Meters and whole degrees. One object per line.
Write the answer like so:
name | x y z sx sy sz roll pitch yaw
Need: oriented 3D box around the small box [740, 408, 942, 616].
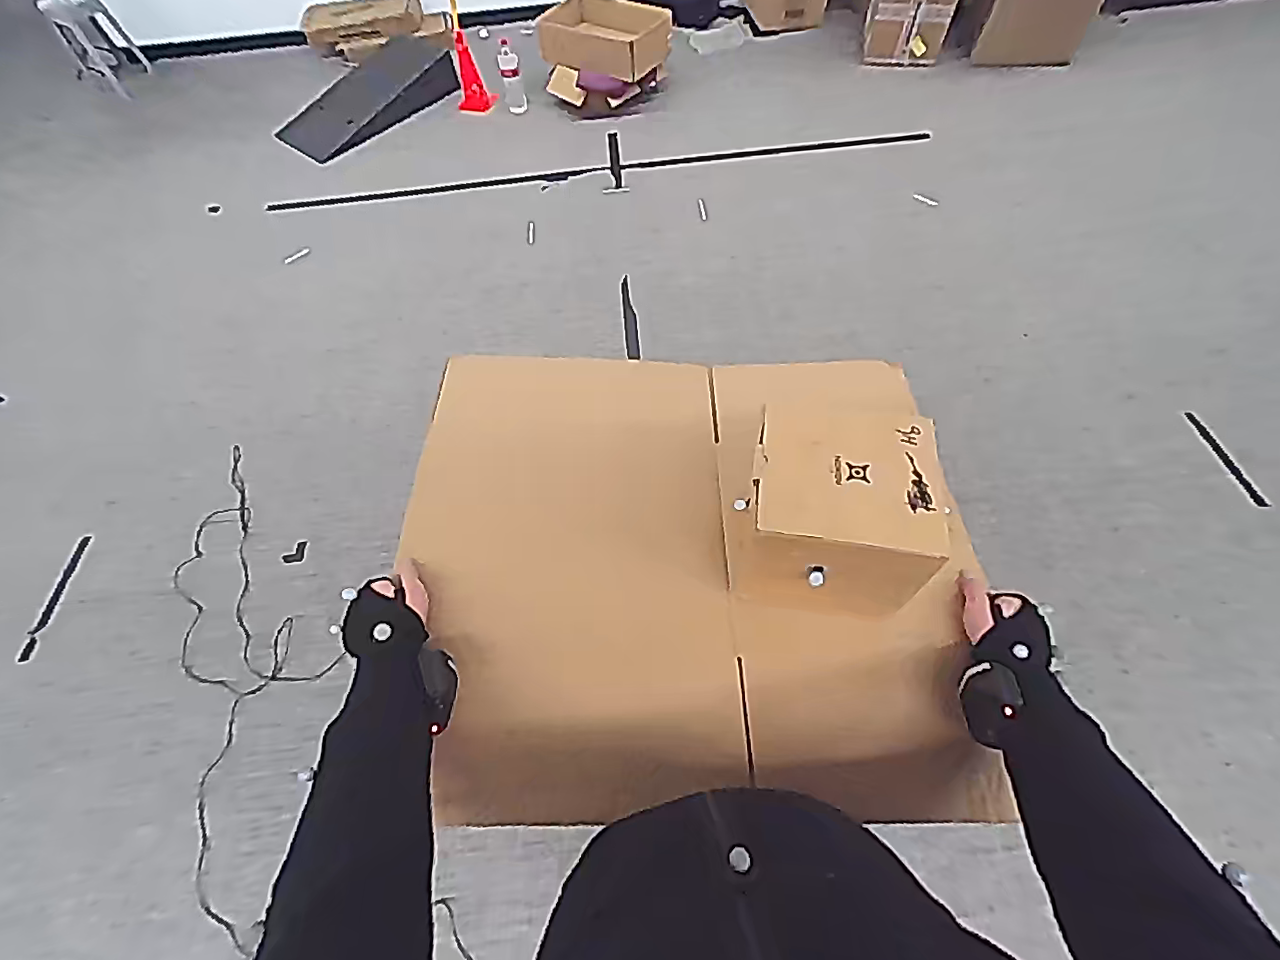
small box | 0.211 0.040 0.611 0.179 0.176 0.168 7 57 9
